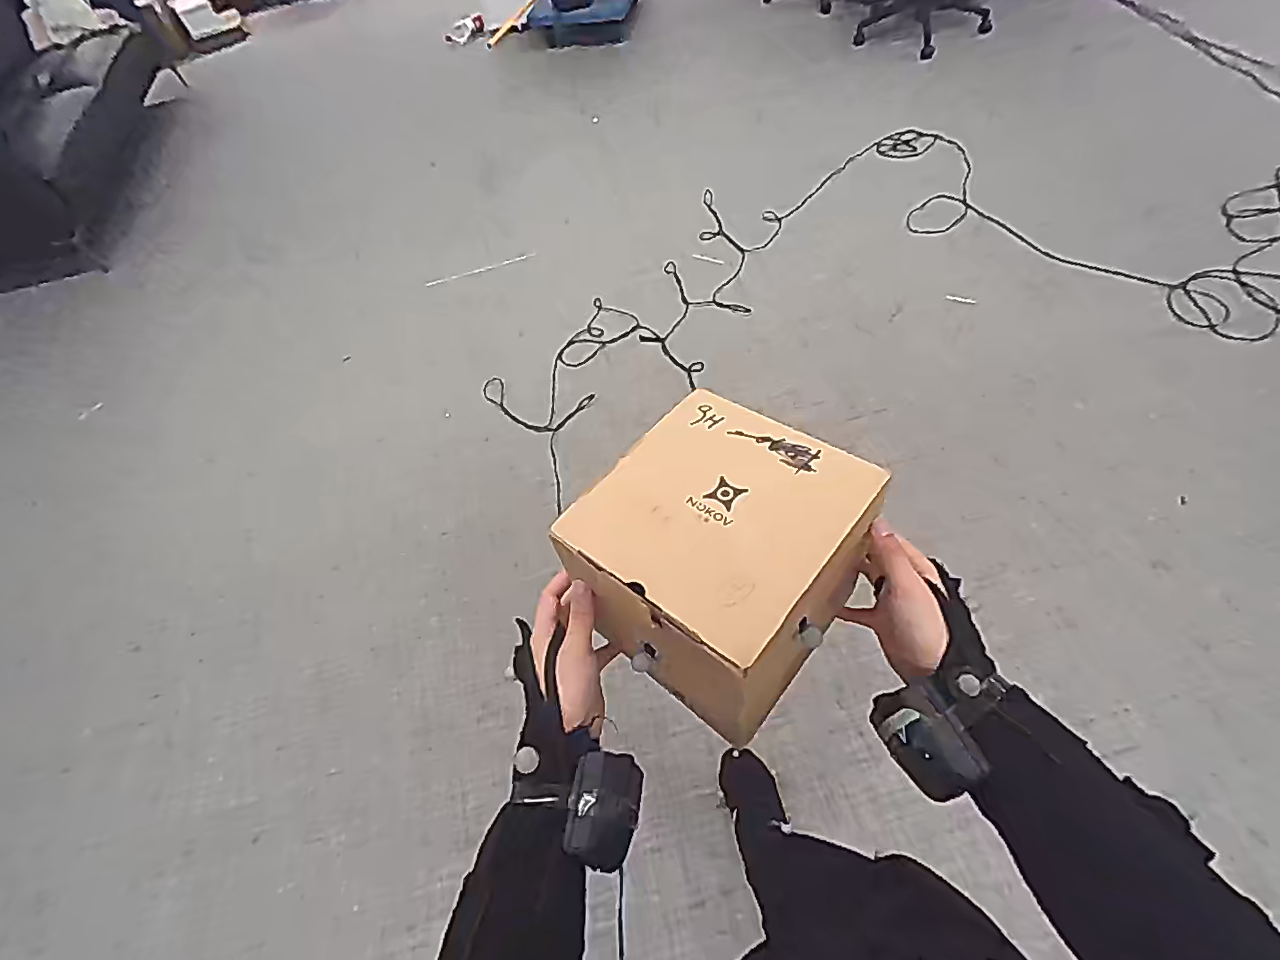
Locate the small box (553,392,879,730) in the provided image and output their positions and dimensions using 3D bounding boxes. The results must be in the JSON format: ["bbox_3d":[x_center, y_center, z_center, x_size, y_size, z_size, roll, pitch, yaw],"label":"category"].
[{"bbox_3d":[0.064,0.067,0.439,0.168,0.176,0.179,31,63,30],"label":"small box"}]
